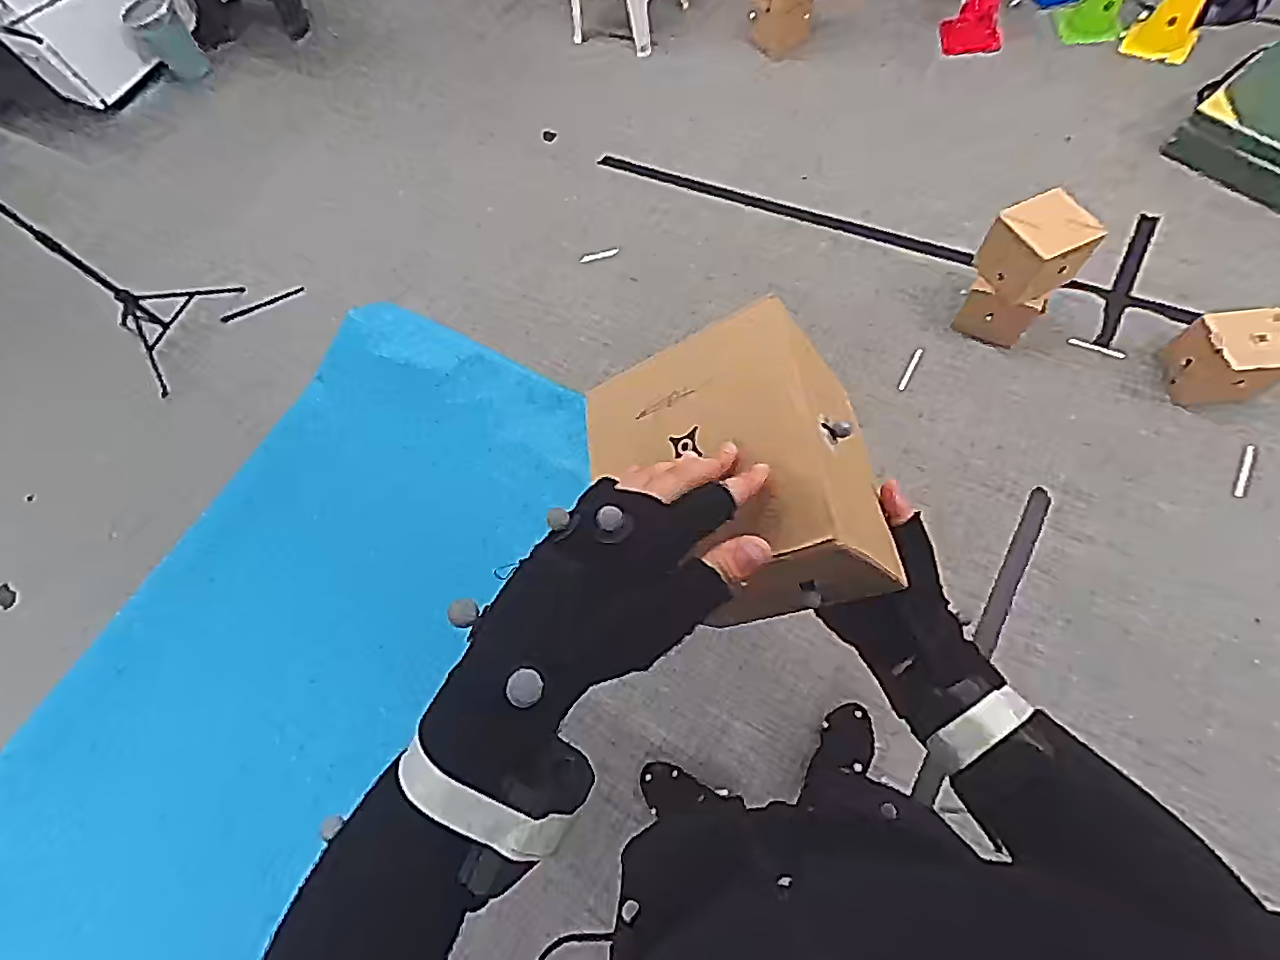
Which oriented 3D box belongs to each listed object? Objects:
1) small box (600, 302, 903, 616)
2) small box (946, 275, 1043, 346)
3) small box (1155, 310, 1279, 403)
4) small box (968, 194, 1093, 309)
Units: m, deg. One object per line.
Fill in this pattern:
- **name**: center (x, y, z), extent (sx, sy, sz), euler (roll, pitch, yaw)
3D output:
- **small box**: center (0.087, 0.005, 0.424), extent (0.168, 0.176, 0.179), euler (-20, 62, 29)
- **small box**: center (1.006, -0.506, 1.522), extent (0.179, 0.176, 0.168), euler (28, 74, 19)
- **small box**: center (1.468, -0.305, 1.369), extent (0.179, 0.176, 0.168), euler (-3, 69, 8)
- **small box**: center (0.989, -0.580, 1.372), extent (0.168, 0.176, 0.179), euler (-24, 66, -2)
